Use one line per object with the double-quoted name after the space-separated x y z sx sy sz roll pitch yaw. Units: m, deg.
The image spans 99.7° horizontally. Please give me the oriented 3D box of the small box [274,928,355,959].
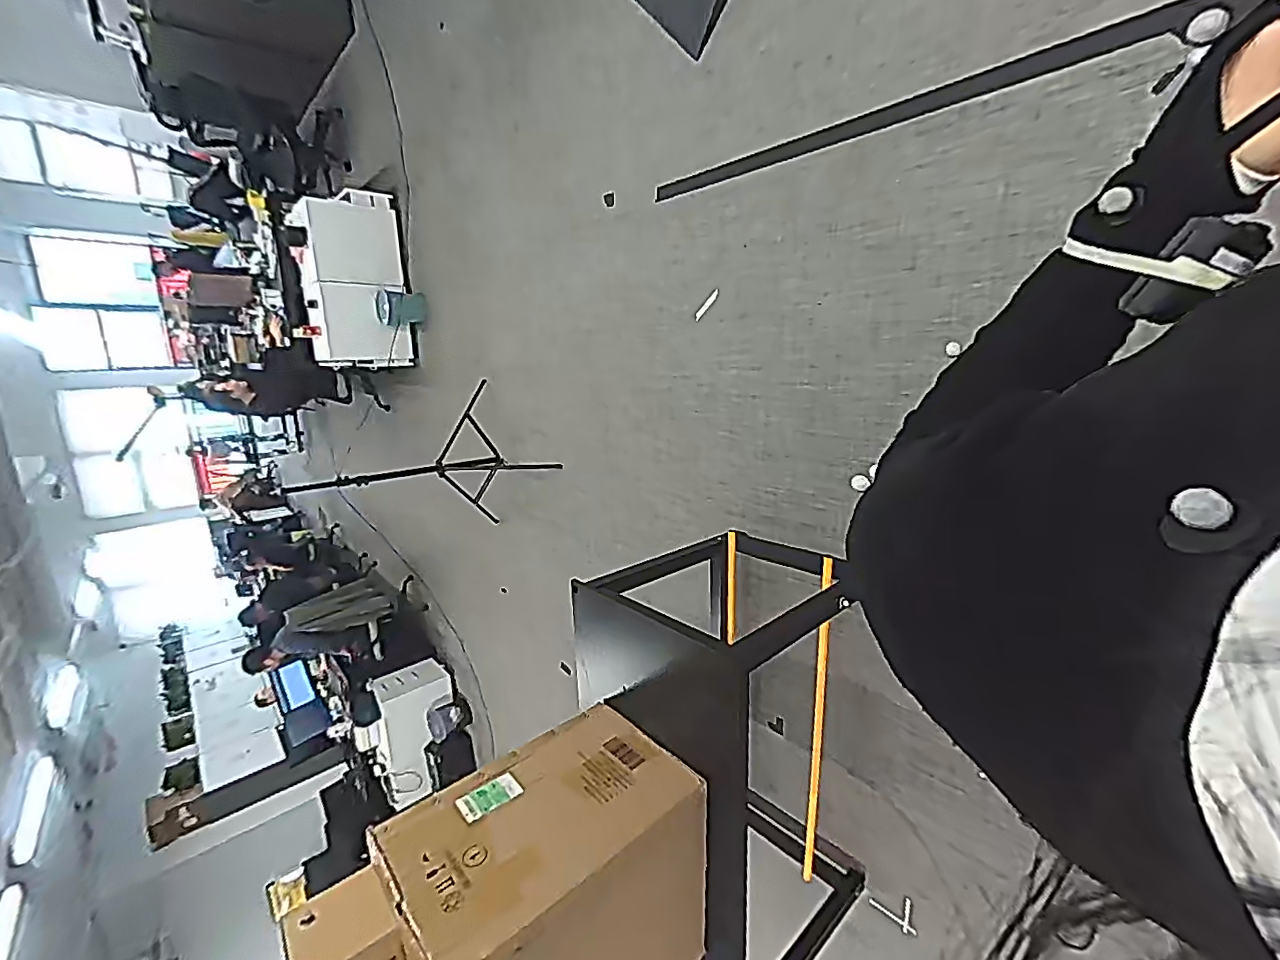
-0.585 0.954 0.957 0.179 0.176 0.168 12 110 49 "small box"
